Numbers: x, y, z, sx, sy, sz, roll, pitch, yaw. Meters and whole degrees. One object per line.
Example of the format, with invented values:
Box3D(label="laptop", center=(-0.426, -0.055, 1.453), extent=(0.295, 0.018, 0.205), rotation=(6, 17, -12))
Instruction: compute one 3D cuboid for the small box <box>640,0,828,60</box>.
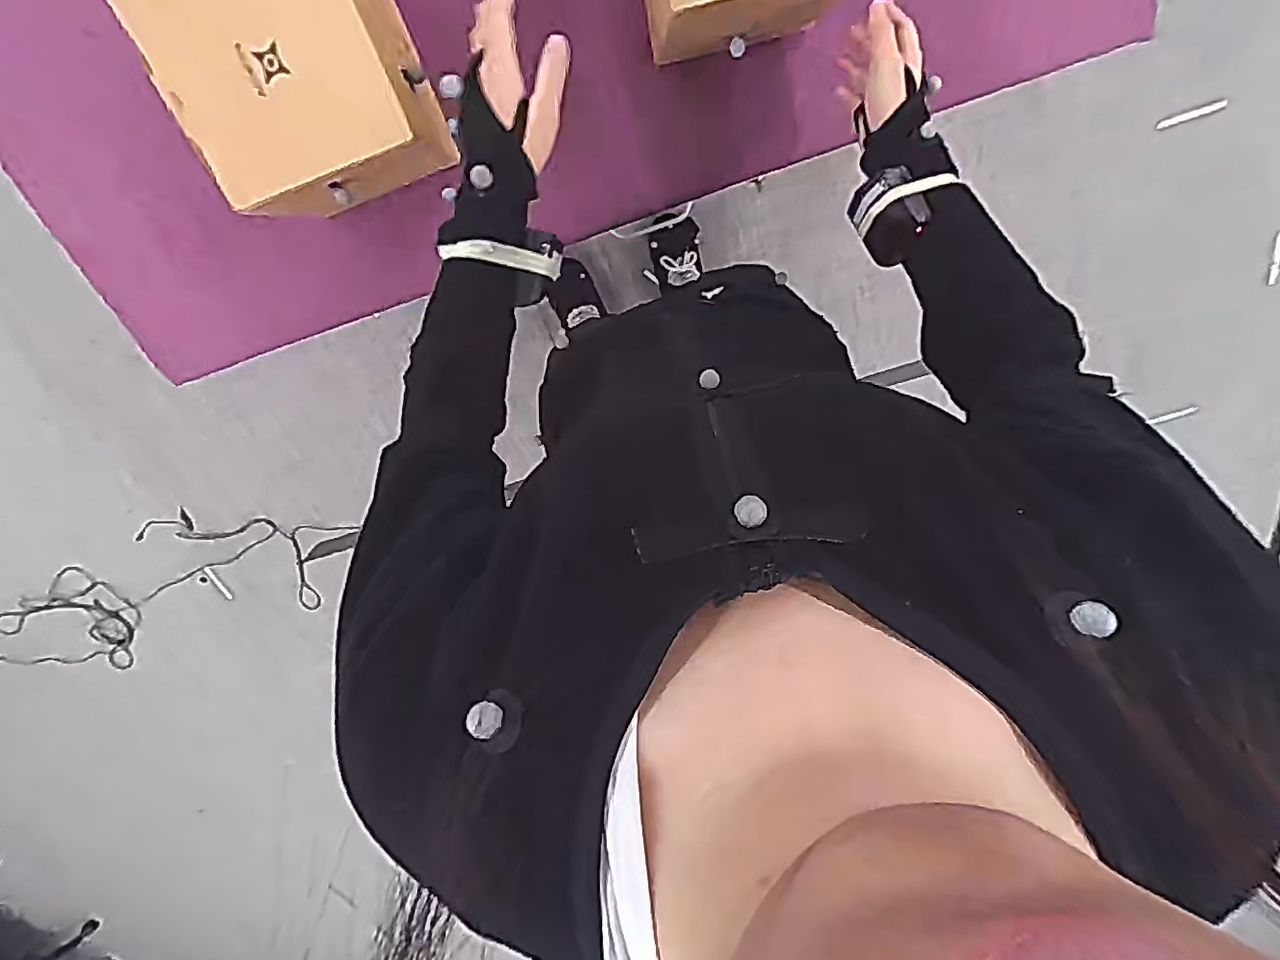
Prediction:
Box3D(label="small box", center=(0.077, -0.494, 0.455), extent=(0.168, 0.176, 0.179), rotation=(-11, 117, 2))

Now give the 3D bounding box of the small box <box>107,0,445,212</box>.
Box3D(label="small box", center=(-0.302, -0.364, 0.500), extent=(0.179, 0.176, 0.168), rotation=(-18, 115, 5))
